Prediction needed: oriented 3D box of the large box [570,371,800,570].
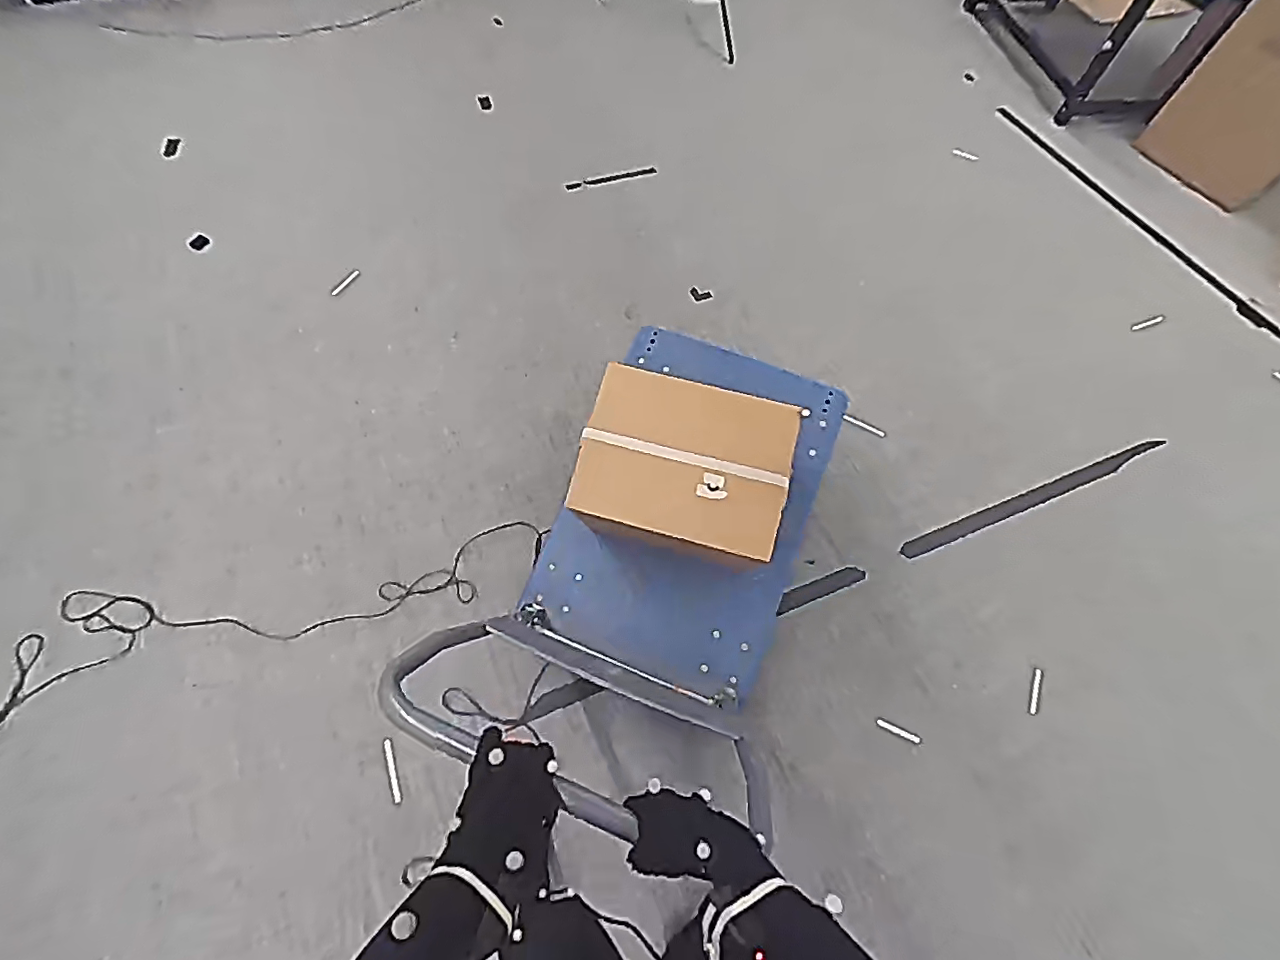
[{"bbox_3d":[0.095,-0.004,1.202,0.408,0.320,0.320,14,78,6],"label":"large box"}]
